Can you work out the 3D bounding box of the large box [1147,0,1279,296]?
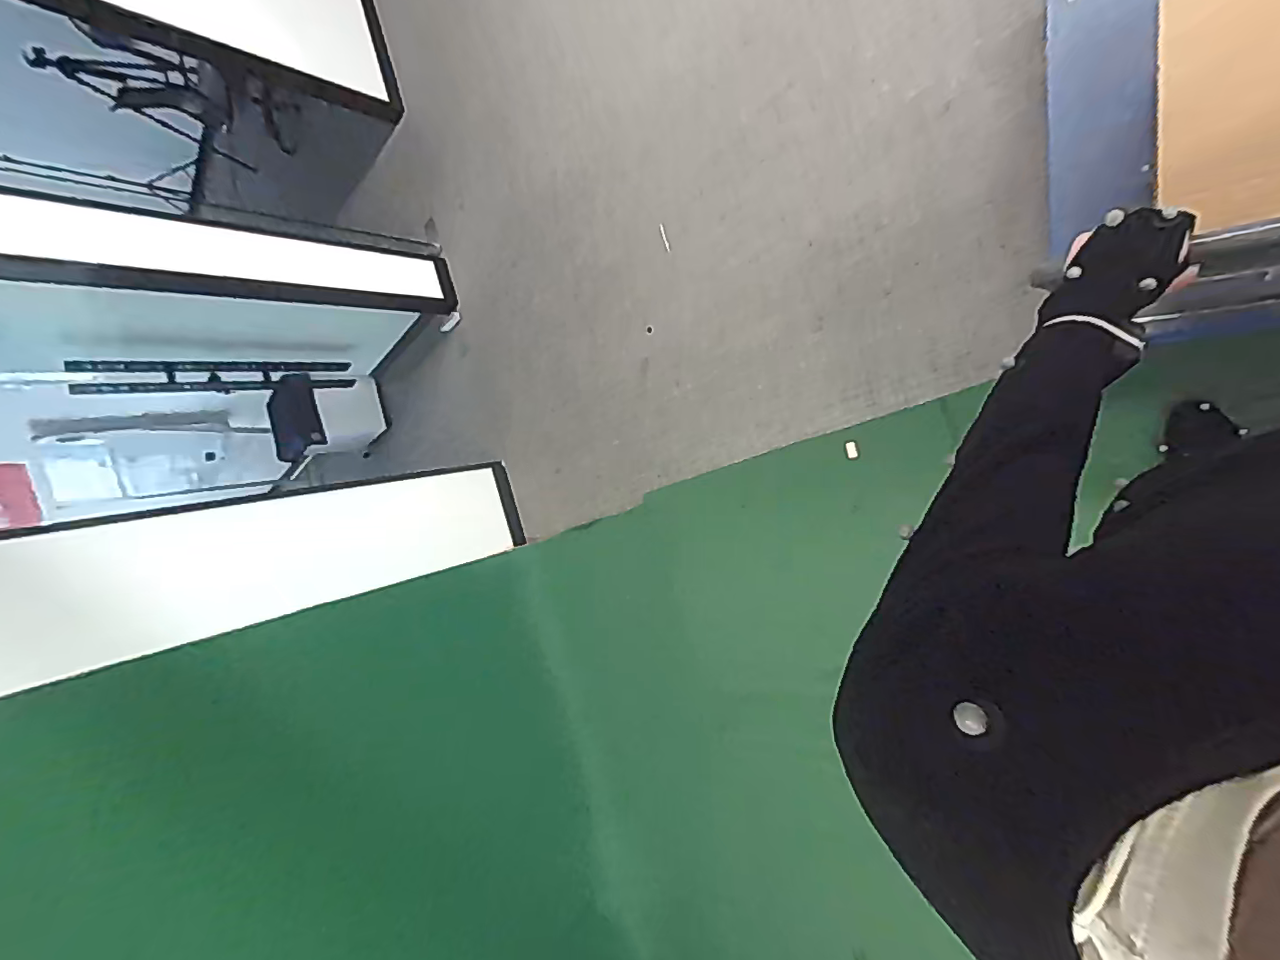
[{"bbox_3d":[0.981,-0.532,0.813,0.320,0.320,0.408,-1,96,42],"label":"large box"}]
